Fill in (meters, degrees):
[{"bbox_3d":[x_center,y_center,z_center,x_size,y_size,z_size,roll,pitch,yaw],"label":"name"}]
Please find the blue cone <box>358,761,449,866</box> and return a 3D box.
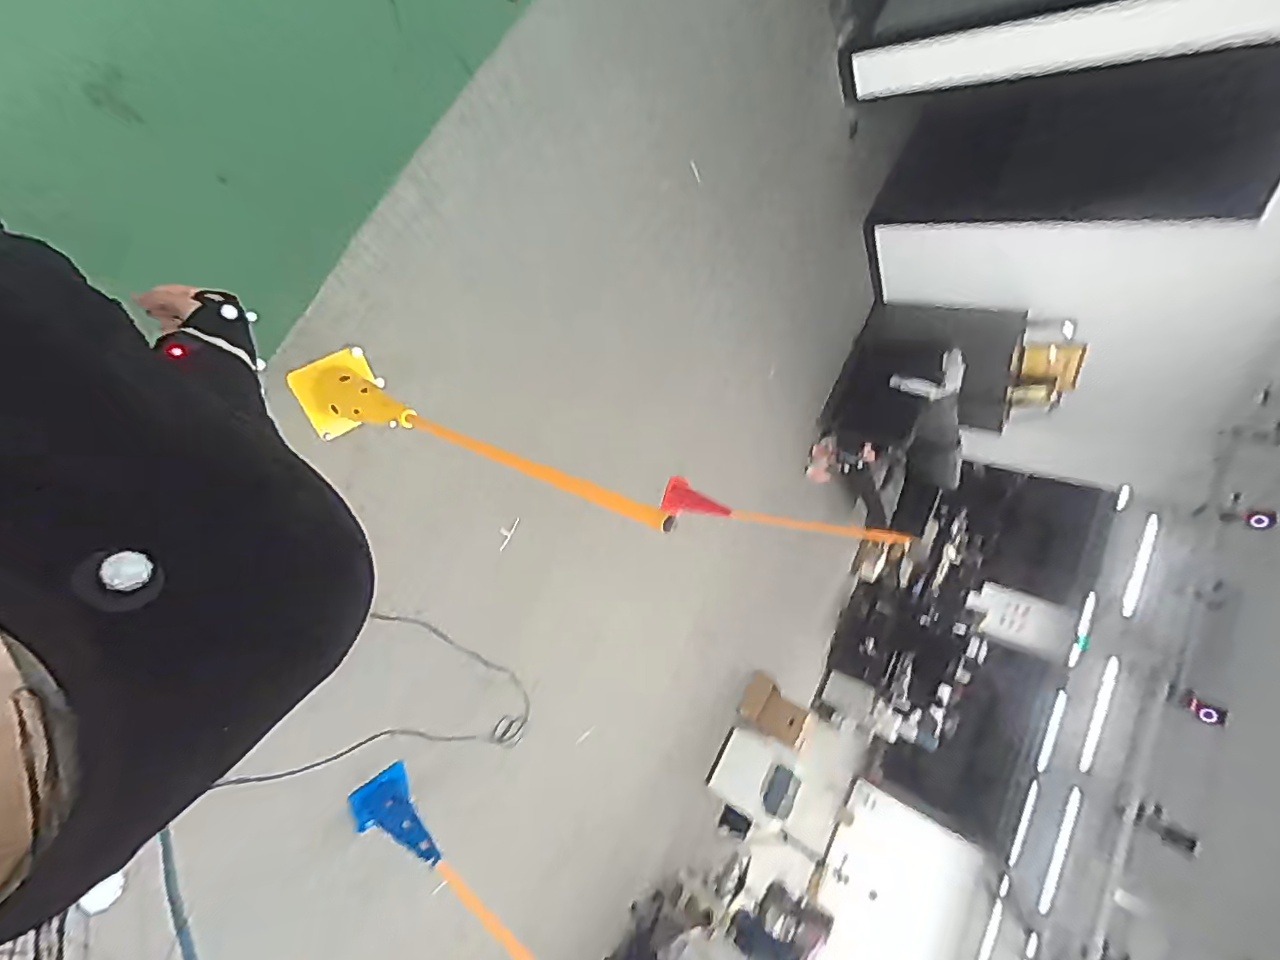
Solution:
[{"bbox_3d":[-0.765,1.158,1.834,0.192,0.380,0.193,-28,129,-46],"label":"blue cone"}]
